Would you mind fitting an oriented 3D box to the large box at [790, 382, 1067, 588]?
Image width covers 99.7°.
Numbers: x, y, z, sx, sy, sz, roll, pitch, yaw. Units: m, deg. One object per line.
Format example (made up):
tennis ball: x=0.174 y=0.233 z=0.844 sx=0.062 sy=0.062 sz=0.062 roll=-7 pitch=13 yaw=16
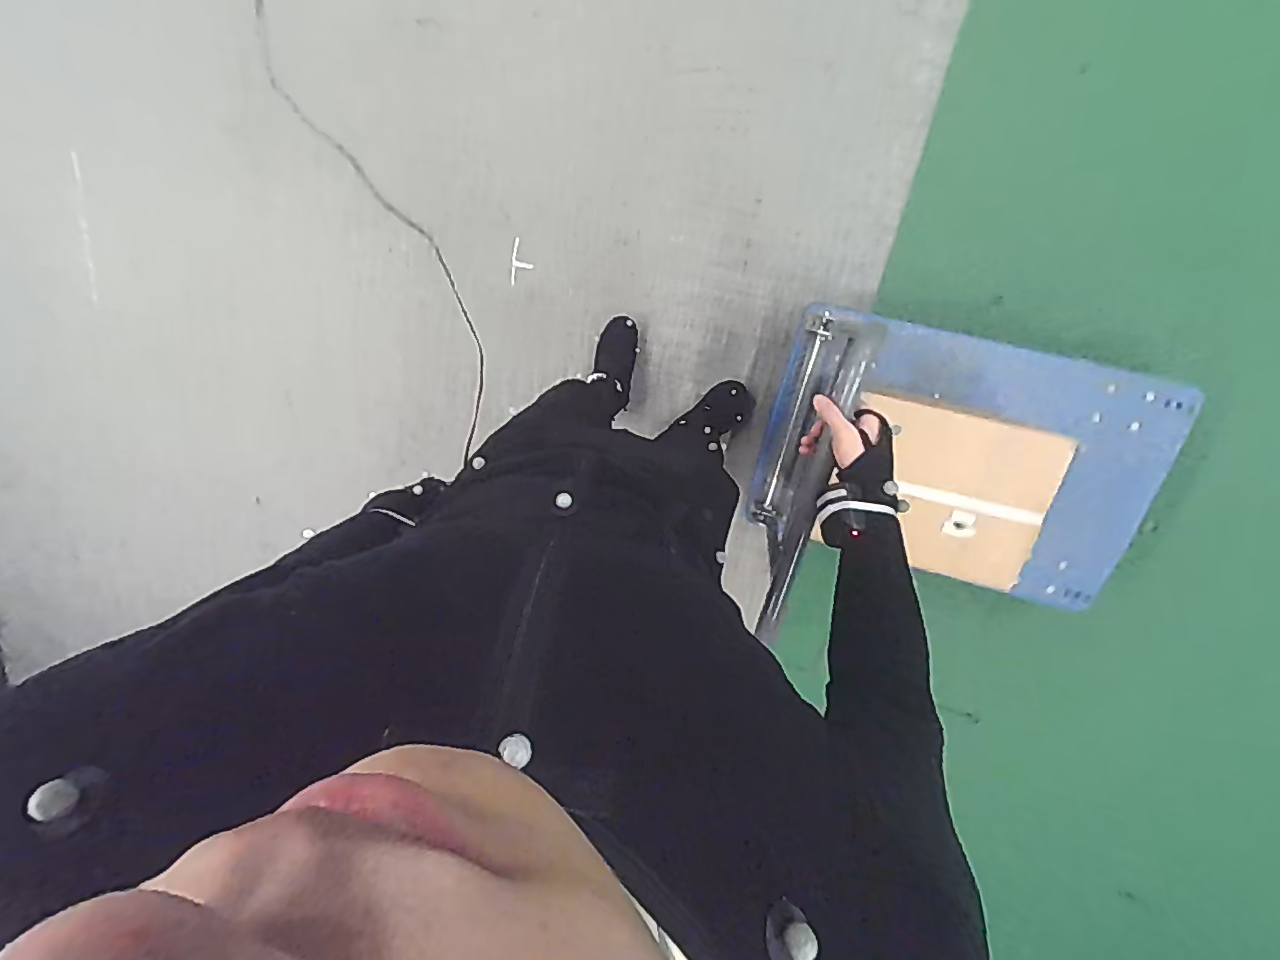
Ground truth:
large box: x=0.580 y=-0.013 z=1.186 sx=0.408 sy=0.320 sz=0.320 roll=15 pitch=109 yaw=6
